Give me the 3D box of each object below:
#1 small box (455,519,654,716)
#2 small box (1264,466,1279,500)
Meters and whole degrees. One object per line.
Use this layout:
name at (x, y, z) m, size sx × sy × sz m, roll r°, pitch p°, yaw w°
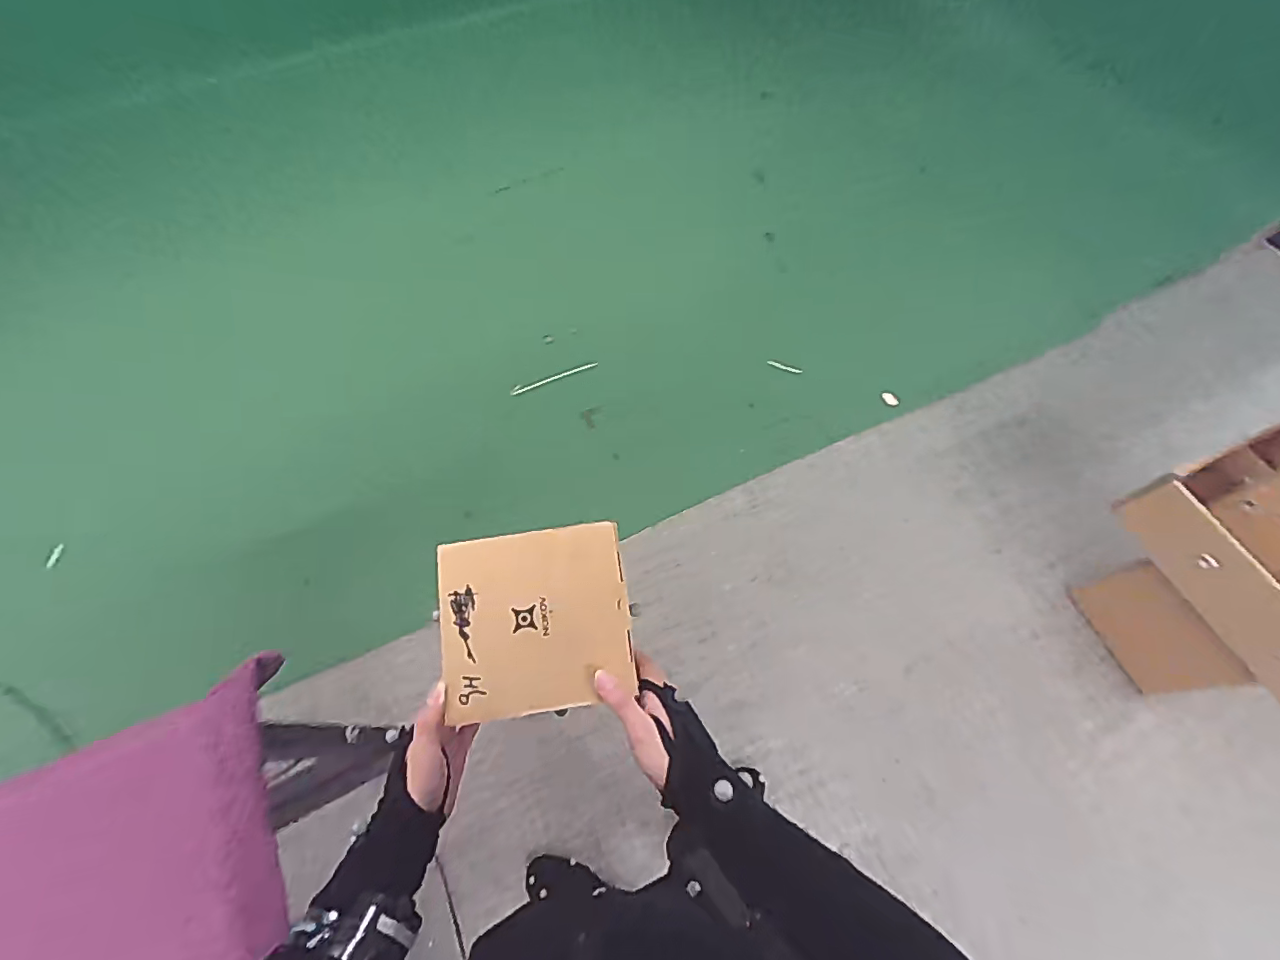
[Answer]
small box at (-0.086, 0.144, 0.575) m, size 0.179 × 0.176 × 0.168 m, roll -6°, pitch 73°, yaw -4°
small box at (1.340, -0.003, 0.988) m, size 0.179 × 0.176 × 0.168 m, roll -22°, pitch 67°, yaw -11°
